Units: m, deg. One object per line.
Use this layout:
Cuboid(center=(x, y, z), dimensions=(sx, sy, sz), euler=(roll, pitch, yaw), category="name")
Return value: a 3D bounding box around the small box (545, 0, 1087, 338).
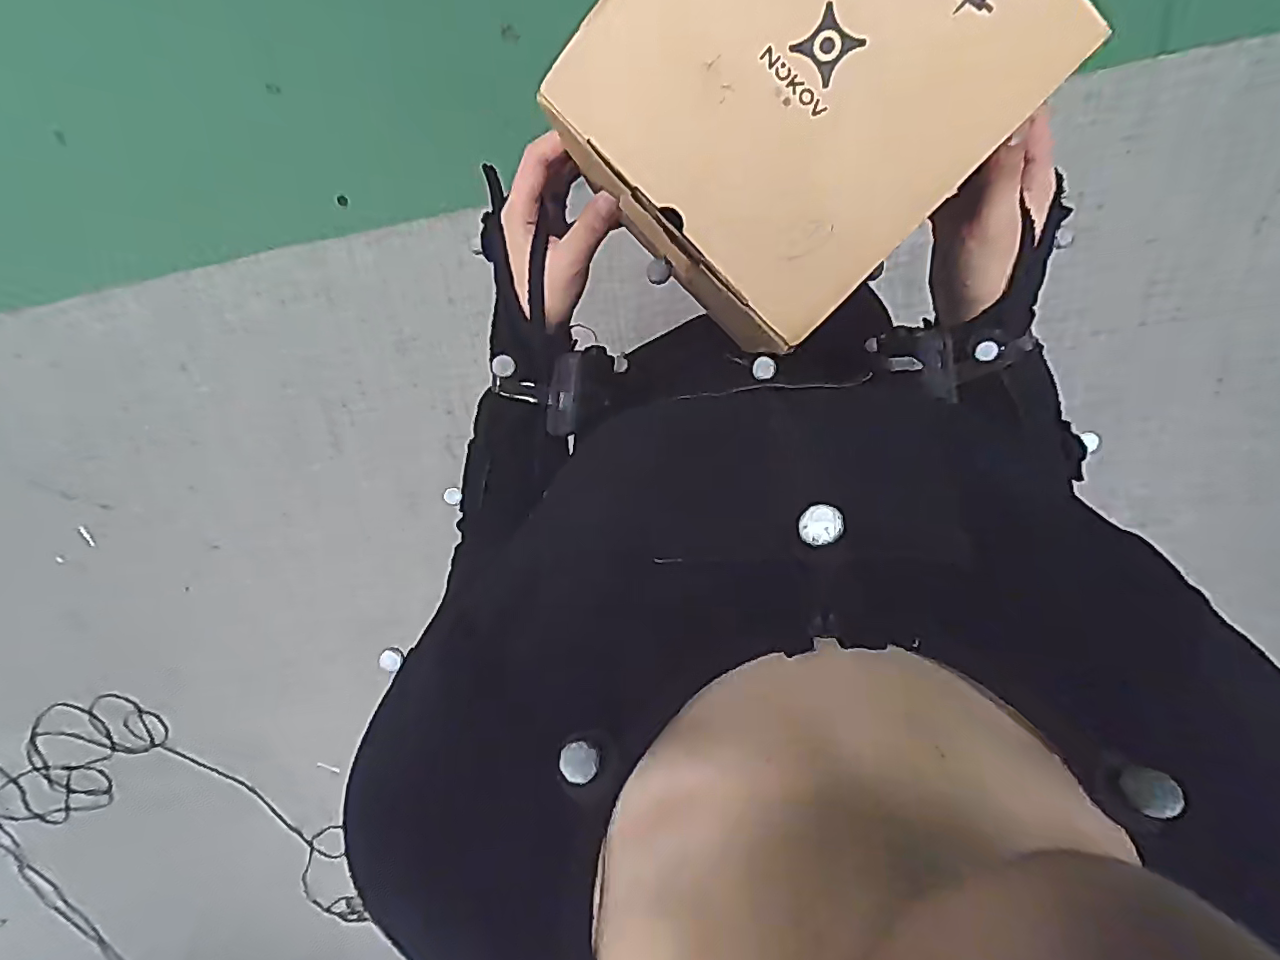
Cuboid(center=(0.079, -0.199, 0.314), dimensions=(0.168, 0.176, 0.179), euler=(43, 103, -6), category="small box")
